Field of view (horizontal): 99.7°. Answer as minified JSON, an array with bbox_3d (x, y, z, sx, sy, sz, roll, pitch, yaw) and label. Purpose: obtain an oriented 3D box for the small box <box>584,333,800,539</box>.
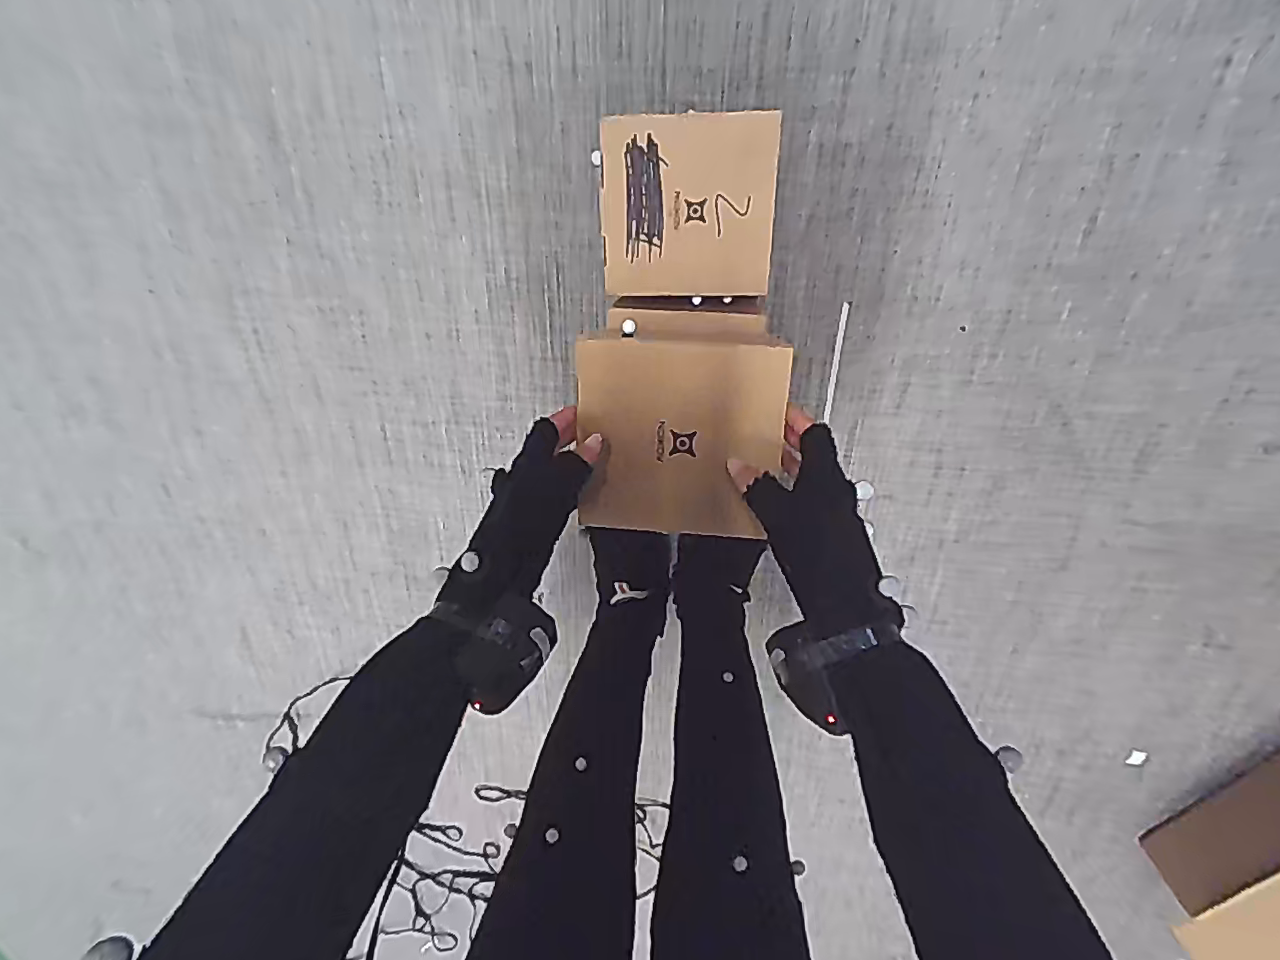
[{"bbox_3d":[0.048,-0.055,0.533,0.179,0.176,0.168,4,108,7],"label":"small box"}]
